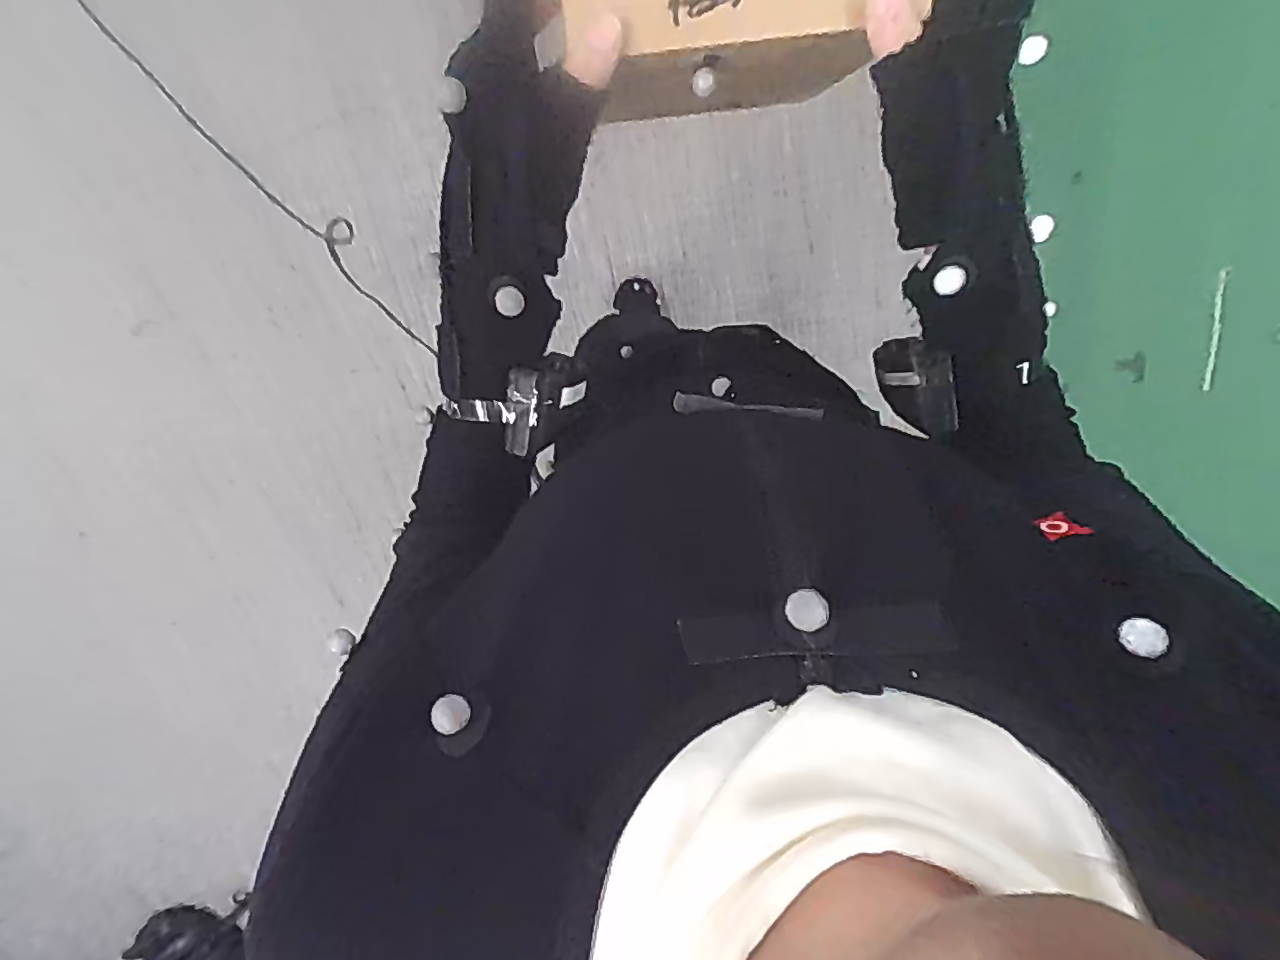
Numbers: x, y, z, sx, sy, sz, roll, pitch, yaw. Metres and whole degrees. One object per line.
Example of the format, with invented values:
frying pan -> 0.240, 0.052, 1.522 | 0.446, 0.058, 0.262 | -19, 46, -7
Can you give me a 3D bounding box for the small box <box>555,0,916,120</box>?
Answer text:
small box -> 0.034, -0.316, 0.283 | 0.168, 0.176, 0.179 | -6, 114, 1
